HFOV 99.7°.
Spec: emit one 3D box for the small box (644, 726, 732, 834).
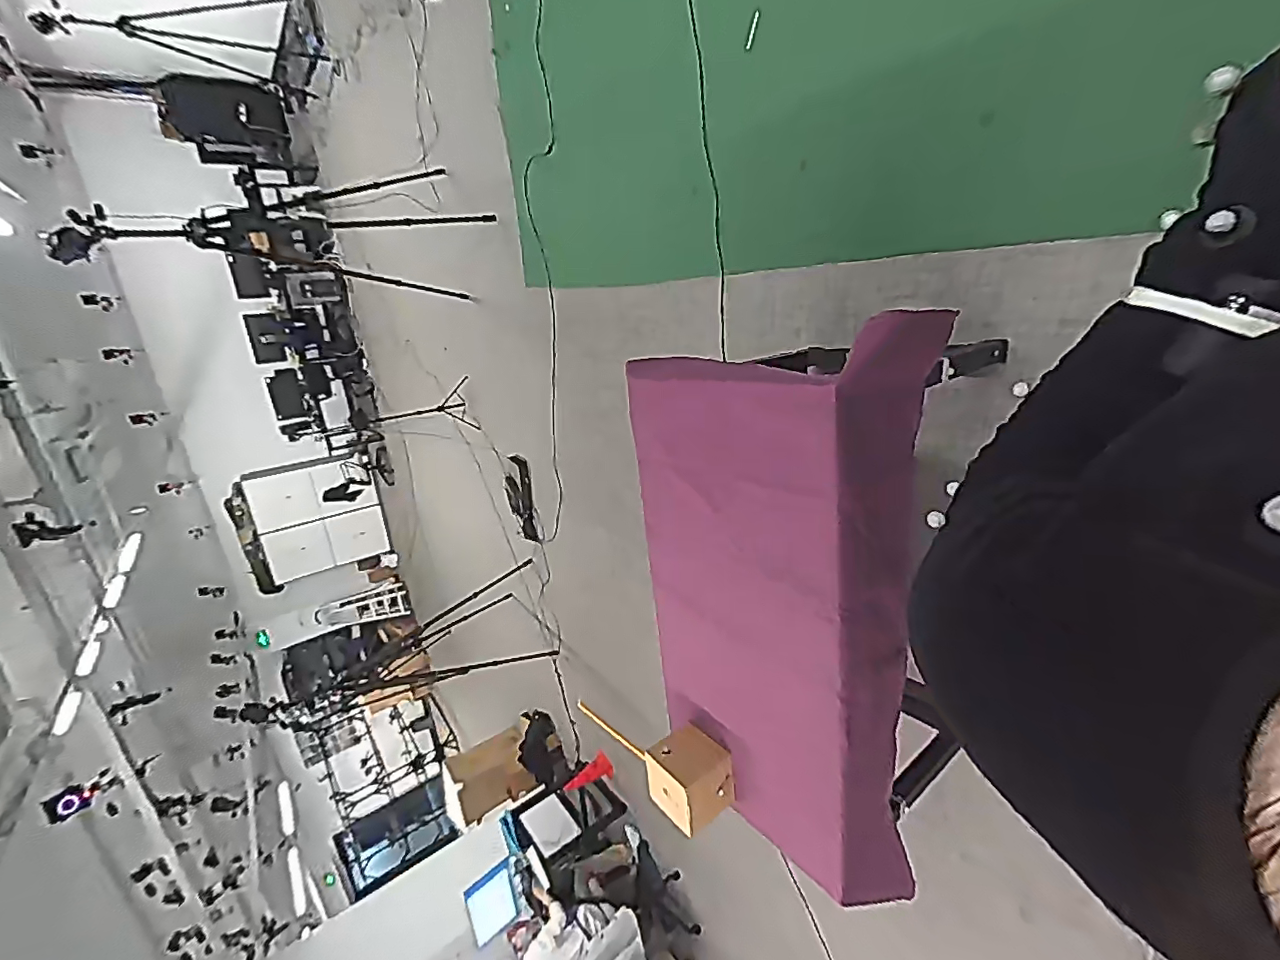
[{"bbox_3d":[0.134,0.816,1.498,0.179,0.176,0.168,16,118,51],"label":"small box"}]
